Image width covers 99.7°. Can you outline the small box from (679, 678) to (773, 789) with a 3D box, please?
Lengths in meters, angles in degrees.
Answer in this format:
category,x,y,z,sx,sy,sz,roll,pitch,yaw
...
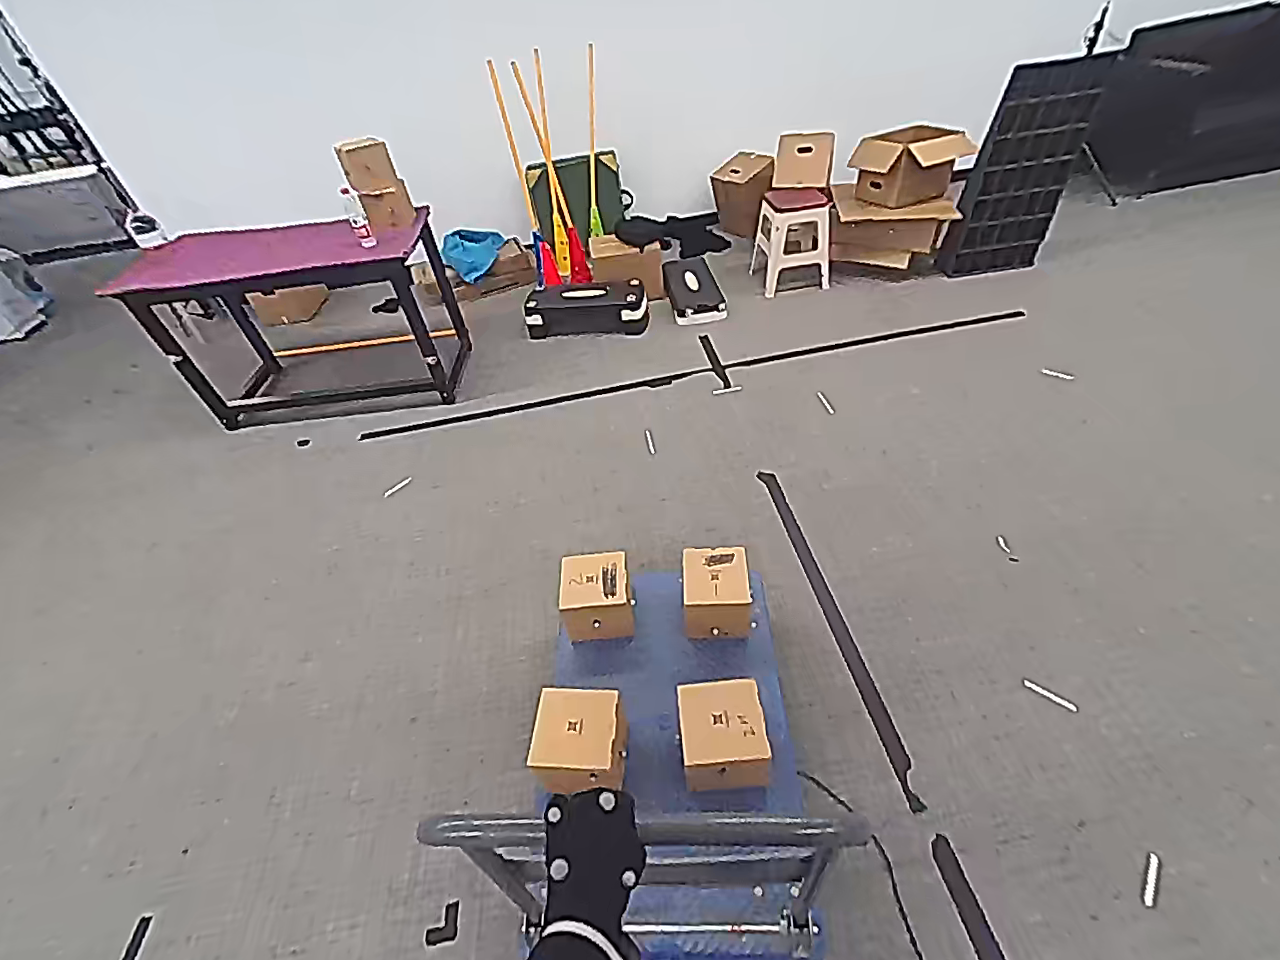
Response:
category,x,y,z,sx,sy,sz,roll,pitch,yaw
small box,0.184,0.554,1.175,0.179,0.176,0.168,-6,44,2

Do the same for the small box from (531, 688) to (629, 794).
category,x,y,z,sx,sy,sz,roll,pitch,yaw
small box,-0.124,0.579,1.198,0.179,0.176,0.168,-1,44,6

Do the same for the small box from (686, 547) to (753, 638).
category,x,y,z,sx,sy,sz,roll,pitch,yaw
small box,0.206,0.298,1.435,0.168,0.176,0.179,-3,45,6
